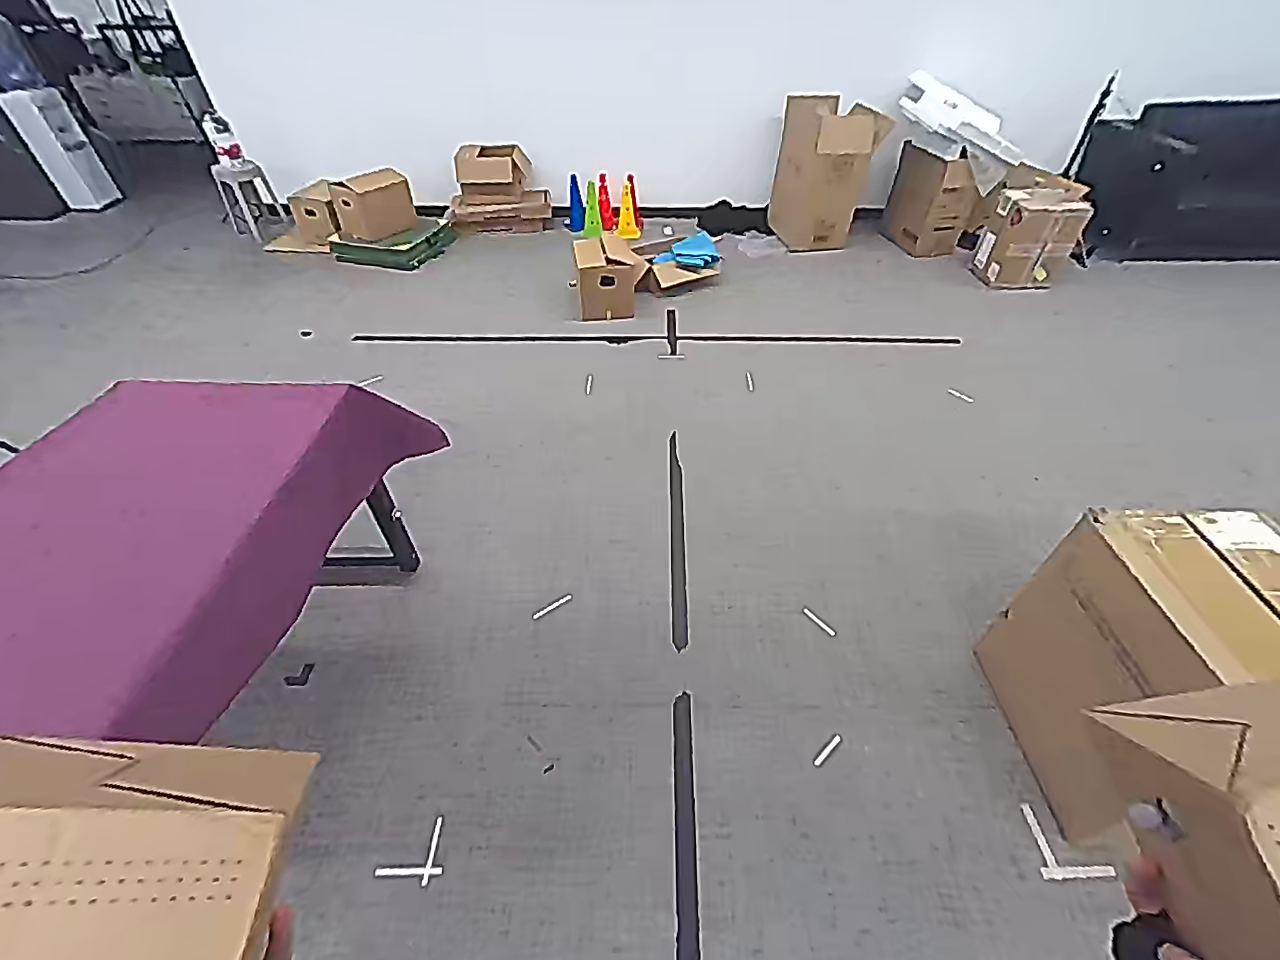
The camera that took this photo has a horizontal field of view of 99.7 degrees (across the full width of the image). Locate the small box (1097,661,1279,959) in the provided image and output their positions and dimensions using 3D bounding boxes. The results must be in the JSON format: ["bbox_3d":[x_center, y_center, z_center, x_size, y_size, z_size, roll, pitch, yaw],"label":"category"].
[{"bbox_3d":[0.372,0.189,0.261,0.168,0.179,0.176,-20,74,18],"label":"small box"}]

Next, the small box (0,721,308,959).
[{"bbox_3d":[-0.278,0.219,0.255,0.179,0.168,0.176,15,67,-21],"label":"small box"}]
